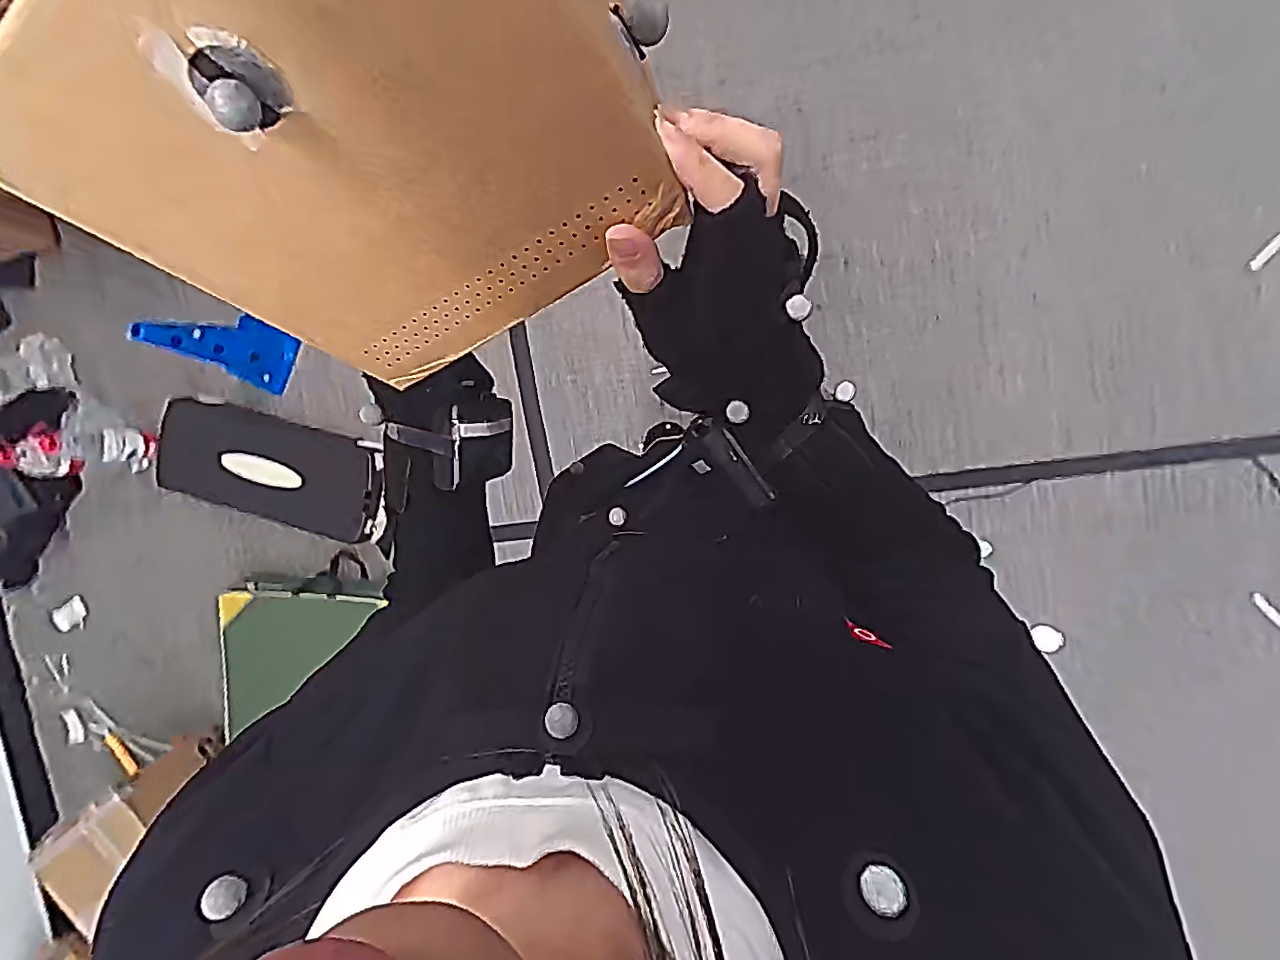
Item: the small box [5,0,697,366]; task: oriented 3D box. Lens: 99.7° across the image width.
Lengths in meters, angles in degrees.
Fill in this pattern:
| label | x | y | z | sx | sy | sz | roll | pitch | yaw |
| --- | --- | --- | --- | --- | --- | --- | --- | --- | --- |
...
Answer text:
| label | x | y | z | sx | sy | sz | roll | pitch | yaw |
| --- | --- | --- | --- | --- | --- | --- | --- | --- | --- |
| small box | -0.098 | -0.178 | 0.236 | 0.179 | 0.176 | 0.168 | -21 | 65 | 21 |
